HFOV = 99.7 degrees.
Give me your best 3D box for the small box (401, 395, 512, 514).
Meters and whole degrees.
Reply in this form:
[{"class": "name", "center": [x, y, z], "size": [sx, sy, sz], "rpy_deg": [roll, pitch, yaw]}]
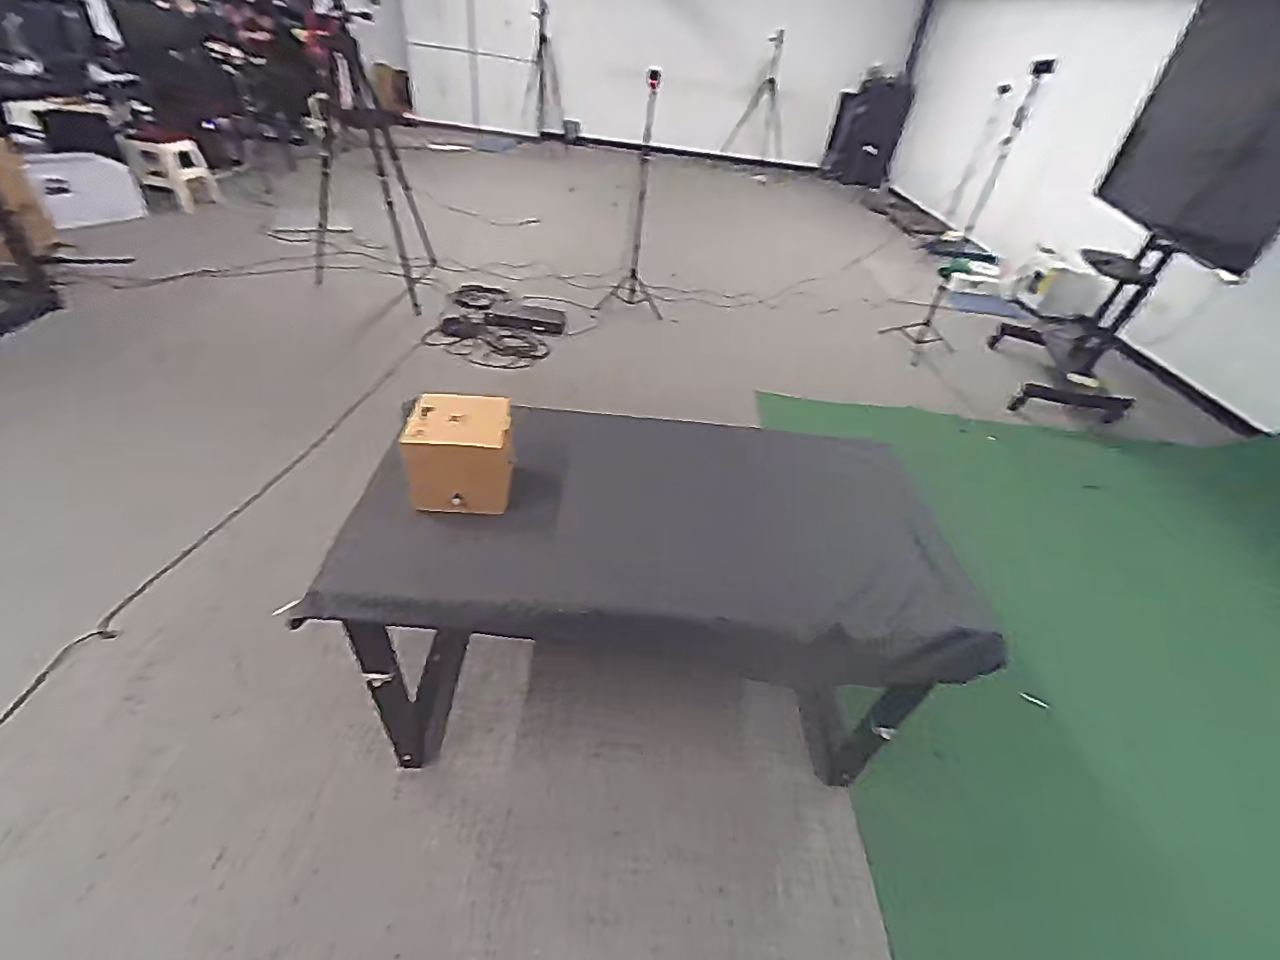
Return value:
[{"class": "small box", "center": [-0.351, -0.048, 1.072], "size": [0.179, 0.176, 0.168], "rpy_deg": [4, 40, -7]}]
